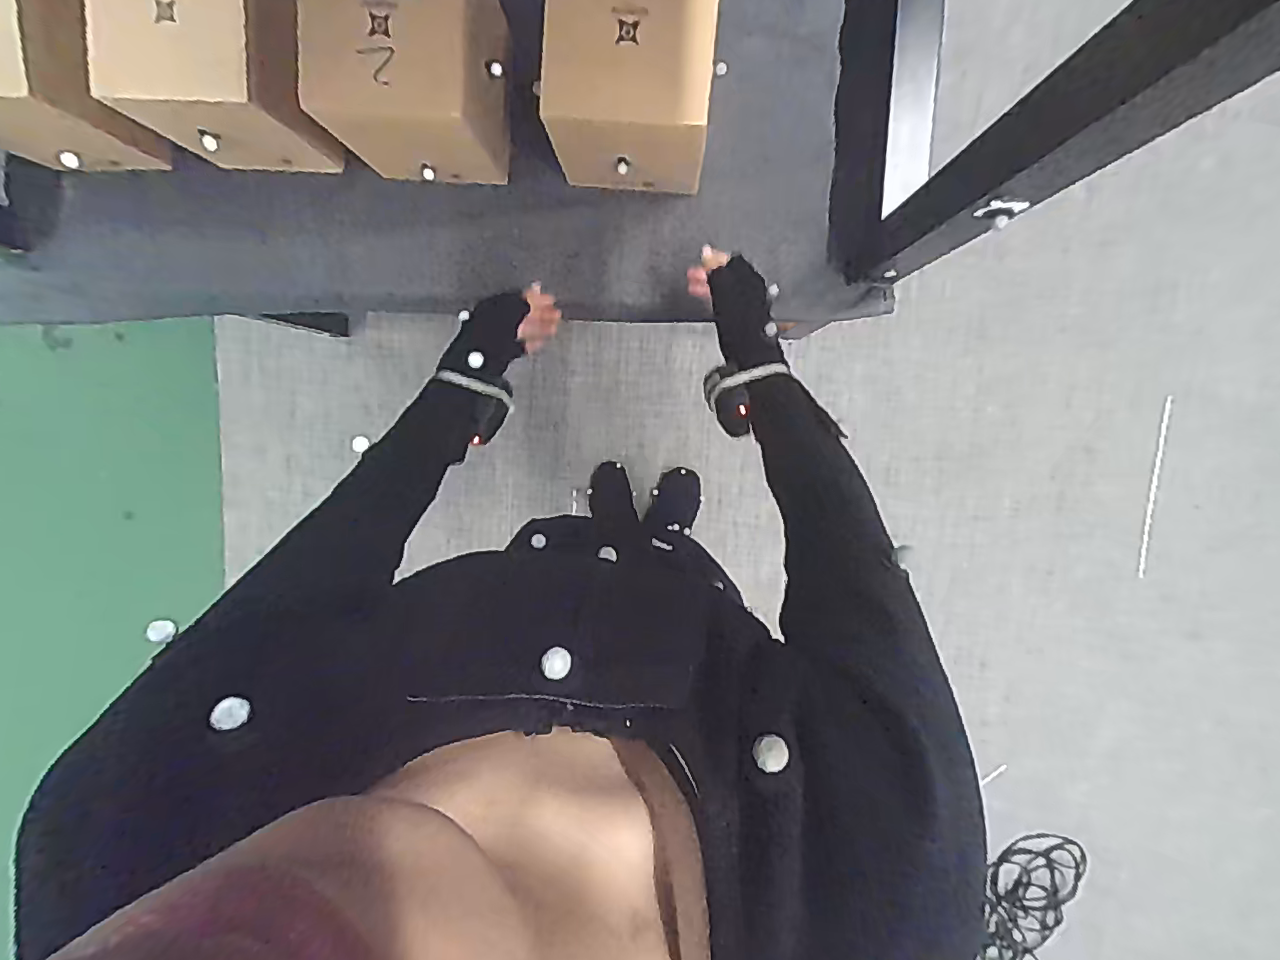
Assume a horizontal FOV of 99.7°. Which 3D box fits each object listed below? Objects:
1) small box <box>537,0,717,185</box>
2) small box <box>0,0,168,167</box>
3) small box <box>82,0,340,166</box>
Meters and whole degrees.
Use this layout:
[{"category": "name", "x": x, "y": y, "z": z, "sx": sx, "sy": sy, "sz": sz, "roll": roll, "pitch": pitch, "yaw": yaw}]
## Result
[{"category": "small box", "x": -0.008, "y": -0.448, "z": 0.590, "sx": 0.168, "sy": 0.176, "sz": 0.179, "roll": 6, "pitch": 97, "yaw": 1}, {"category": "small box", "x": -0.688, "y": -0.485, "z": 0.611, "sx": 0.168, "sy": 0.176, "sz": 0.179, "roll": 1, "pitch": 97, "yaw": 2}, {"category": "small box", "x": -0.461, "y": -0.479, "z": 0.607, "sx": 0.168, "sy": 0.176, "sz": 0.179, "roll": 3, "pitch": 97, "yaw": 1}]
